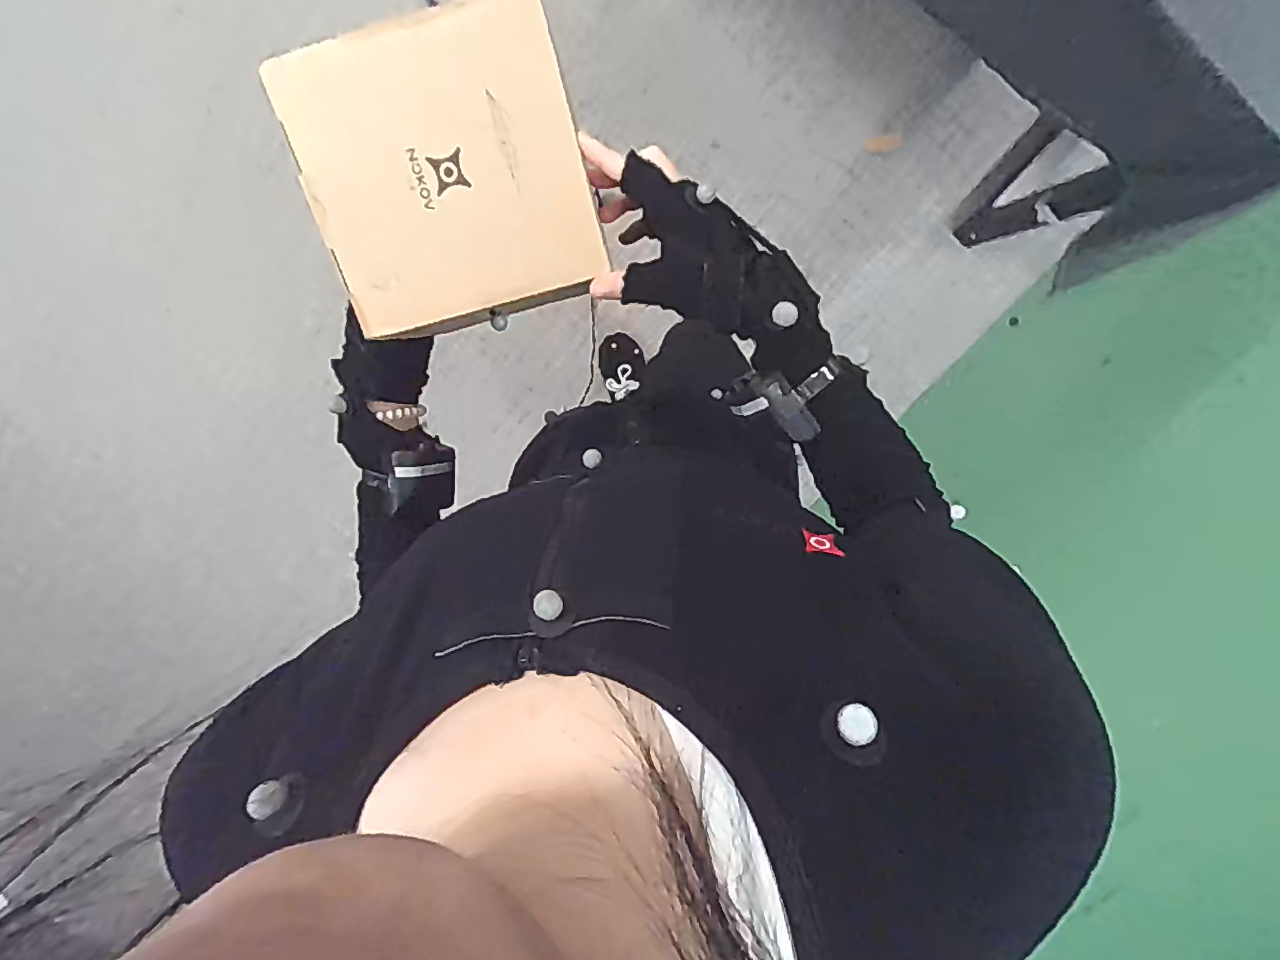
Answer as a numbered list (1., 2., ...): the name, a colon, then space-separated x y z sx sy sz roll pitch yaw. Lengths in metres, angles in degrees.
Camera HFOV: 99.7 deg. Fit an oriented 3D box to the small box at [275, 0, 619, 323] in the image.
1. small box: -0.119 -0.220 0.417 0.179 0.176 0.168 -12 107 3
